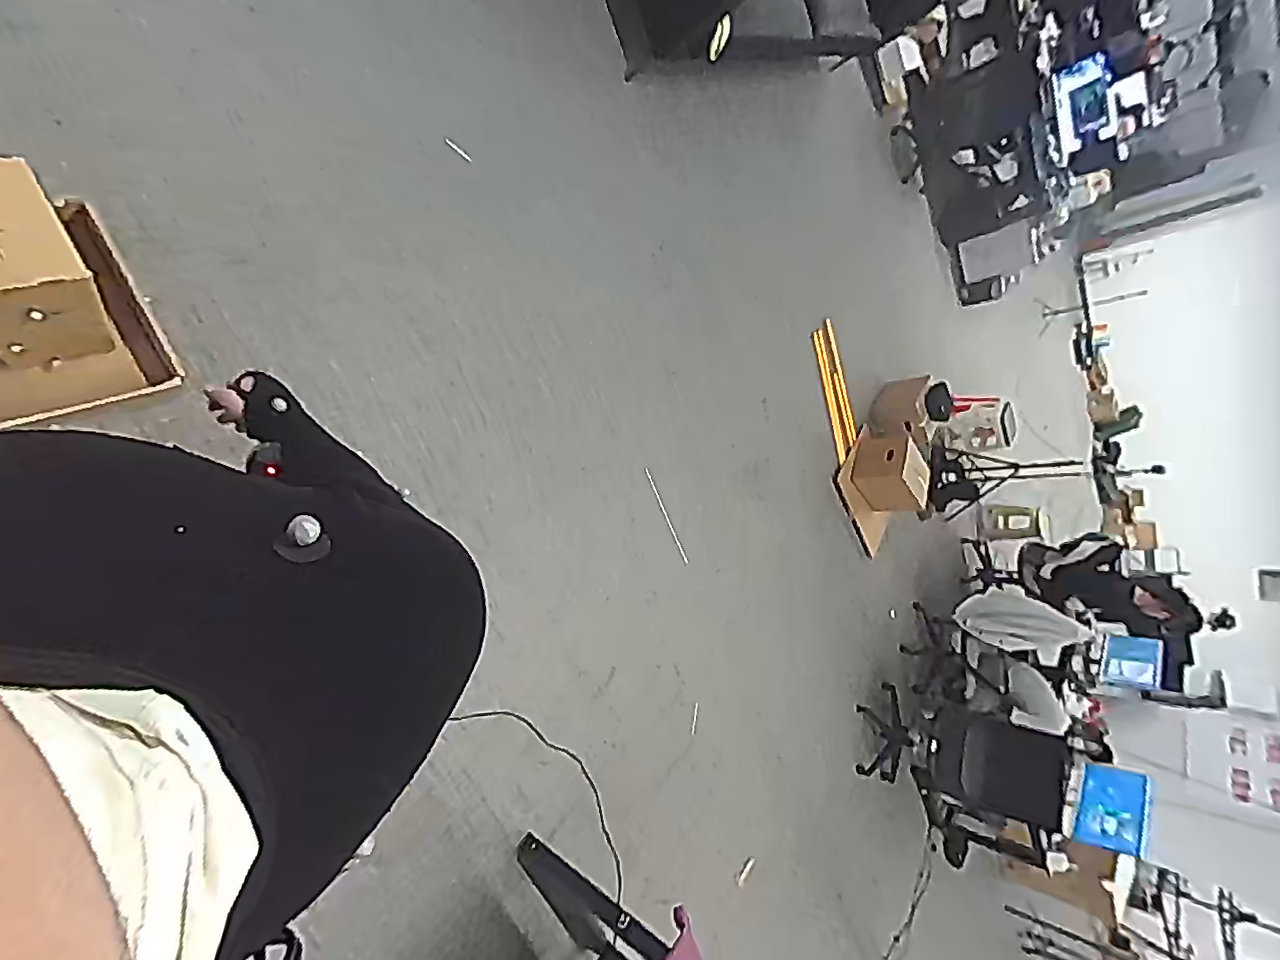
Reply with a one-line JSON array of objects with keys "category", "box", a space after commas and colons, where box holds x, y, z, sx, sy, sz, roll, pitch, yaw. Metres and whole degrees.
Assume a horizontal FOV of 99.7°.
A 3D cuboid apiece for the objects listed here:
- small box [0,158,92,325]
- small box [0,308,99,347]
[{"category": "small box", "box": [-0.967, -0.344, 0.800, 0.168, 0.176, 0.179, -31, 107, -38]}, {"category": "small box", "box": [-1.077, -0.337, 0.923, 0.168, 0.176, 0.179, -28, 104, -39]}]
